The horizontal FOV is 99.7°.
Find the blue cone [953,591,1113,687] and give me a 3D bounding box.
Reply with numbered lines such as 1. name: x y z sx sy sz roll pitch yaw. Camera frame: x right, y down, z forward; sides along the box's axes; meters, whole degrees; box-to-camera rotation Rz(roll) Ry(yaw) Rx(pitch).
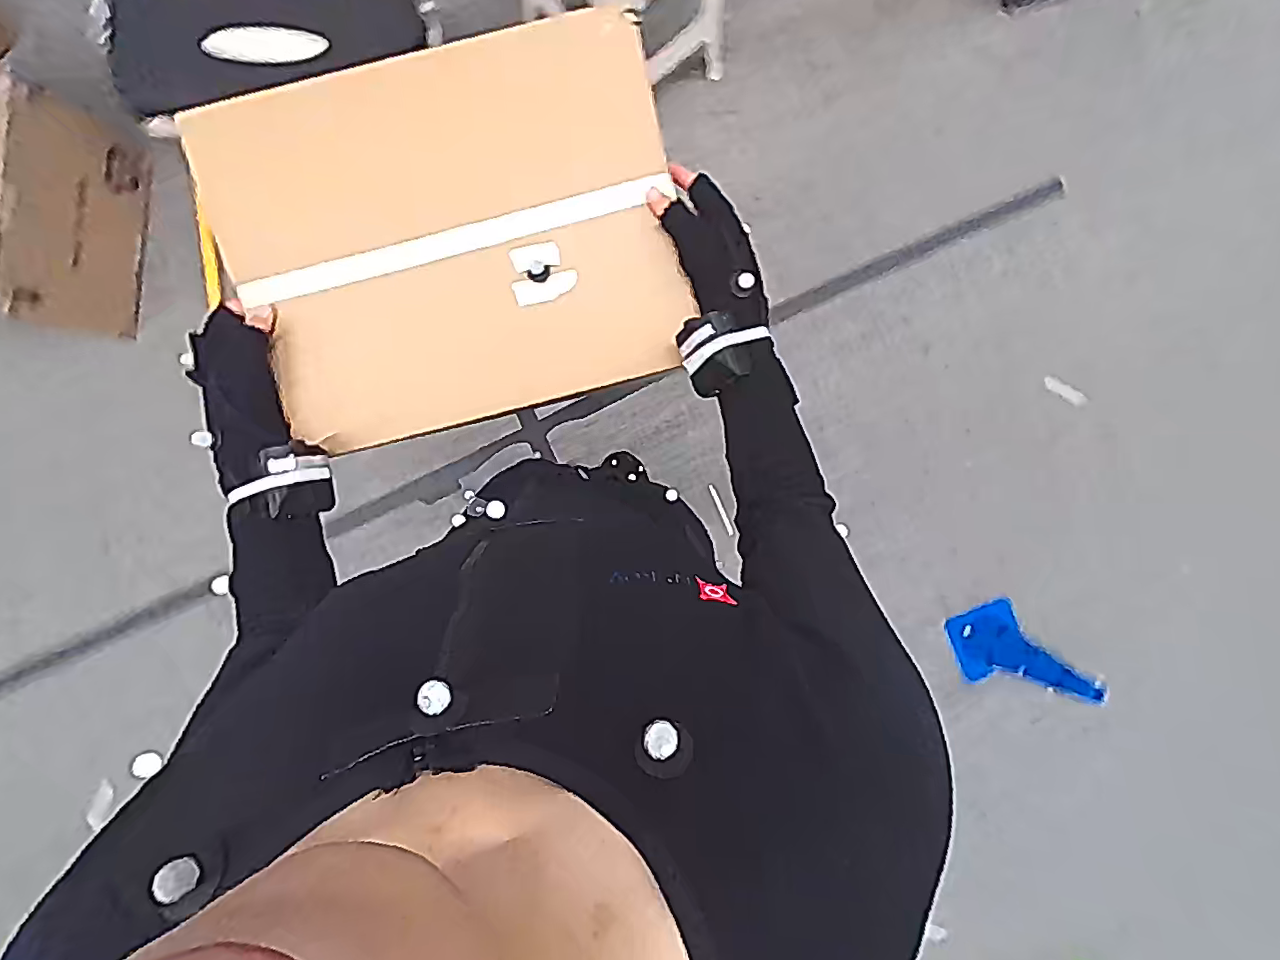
1. blue cone: 1.000 0.435 1.367 0.192 0.380 0.193 -22 93 -2

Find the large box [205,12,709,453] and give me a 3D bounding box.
1. large box: -0.167 -0.240 0.646 0.408 0.320 0.320 -14 100 0

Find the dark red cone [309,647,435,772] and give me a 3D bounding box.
1. dark red cone: -0.663 0.572 1.291 0.201 0.394 0.202 -19 93 -2
